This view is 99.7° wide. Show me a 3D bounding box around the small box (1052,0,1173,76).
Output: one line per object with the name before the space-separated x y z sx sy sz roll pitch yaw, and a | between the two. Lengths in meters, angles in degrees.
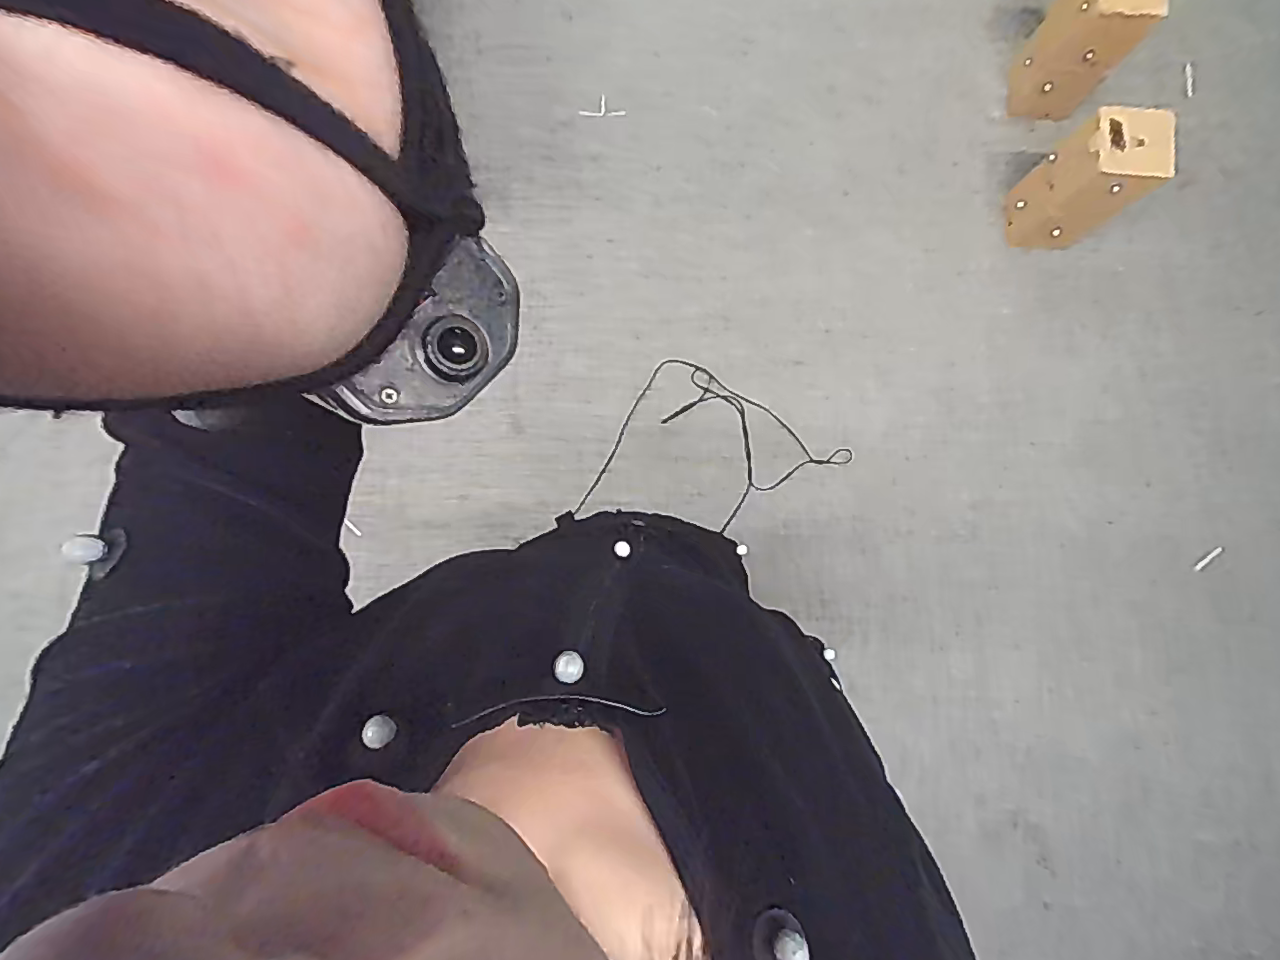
small box | 1.175 -1.168 1.355 0.168 0.176 0.179 5 86 1

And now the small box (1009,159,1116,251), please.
small box | 1.155 -0.750 1.489 0.179 0.176 0.168 4 86 2

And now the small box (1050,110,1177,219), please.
small box | 1.148 -0.764 1.324 0.179 0.176 0.168 5 86 0
